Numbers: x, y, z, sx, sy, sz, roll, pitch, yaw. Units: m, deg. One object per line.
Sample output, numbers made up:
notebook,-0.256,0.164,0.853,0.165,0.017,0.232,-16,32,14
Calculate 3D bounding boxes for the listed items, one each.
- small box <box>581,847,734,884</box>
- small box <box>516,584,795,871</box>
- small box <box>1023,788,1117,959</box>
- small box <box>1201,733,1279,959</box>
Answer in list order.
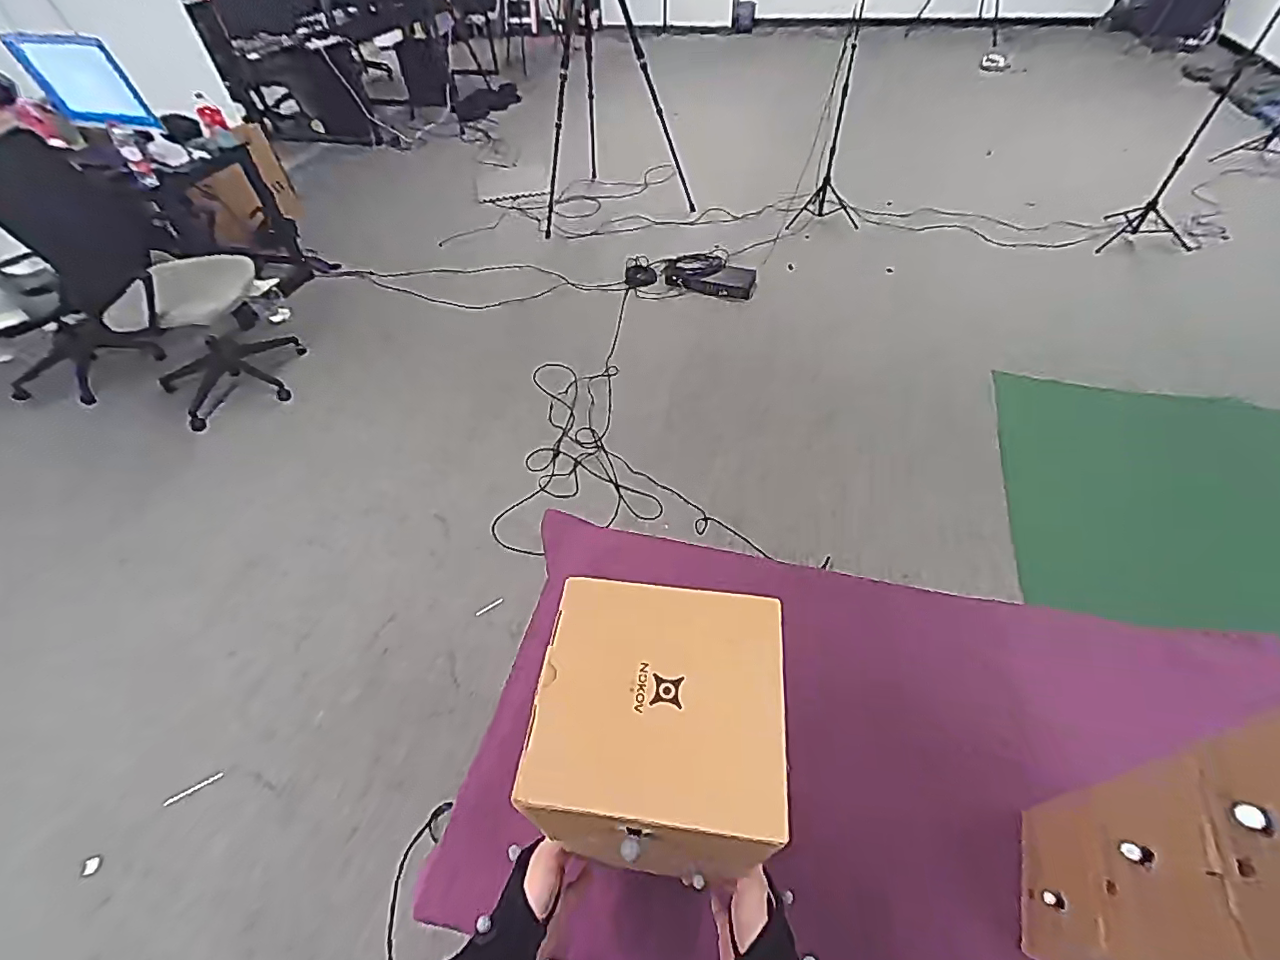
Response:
small box,0.032,0.405,0.700,0.179,0.176,0.168,6,50,8
small box,0.020,0.205,0.442,0.179,0.176,0.168,5,51,7
small box,0.562,0.487,0.606,0.179,0.176,0.168,19,53,18
small box,0.552,0.271,0.358,0.179,0.176,0.168,15,51,16
